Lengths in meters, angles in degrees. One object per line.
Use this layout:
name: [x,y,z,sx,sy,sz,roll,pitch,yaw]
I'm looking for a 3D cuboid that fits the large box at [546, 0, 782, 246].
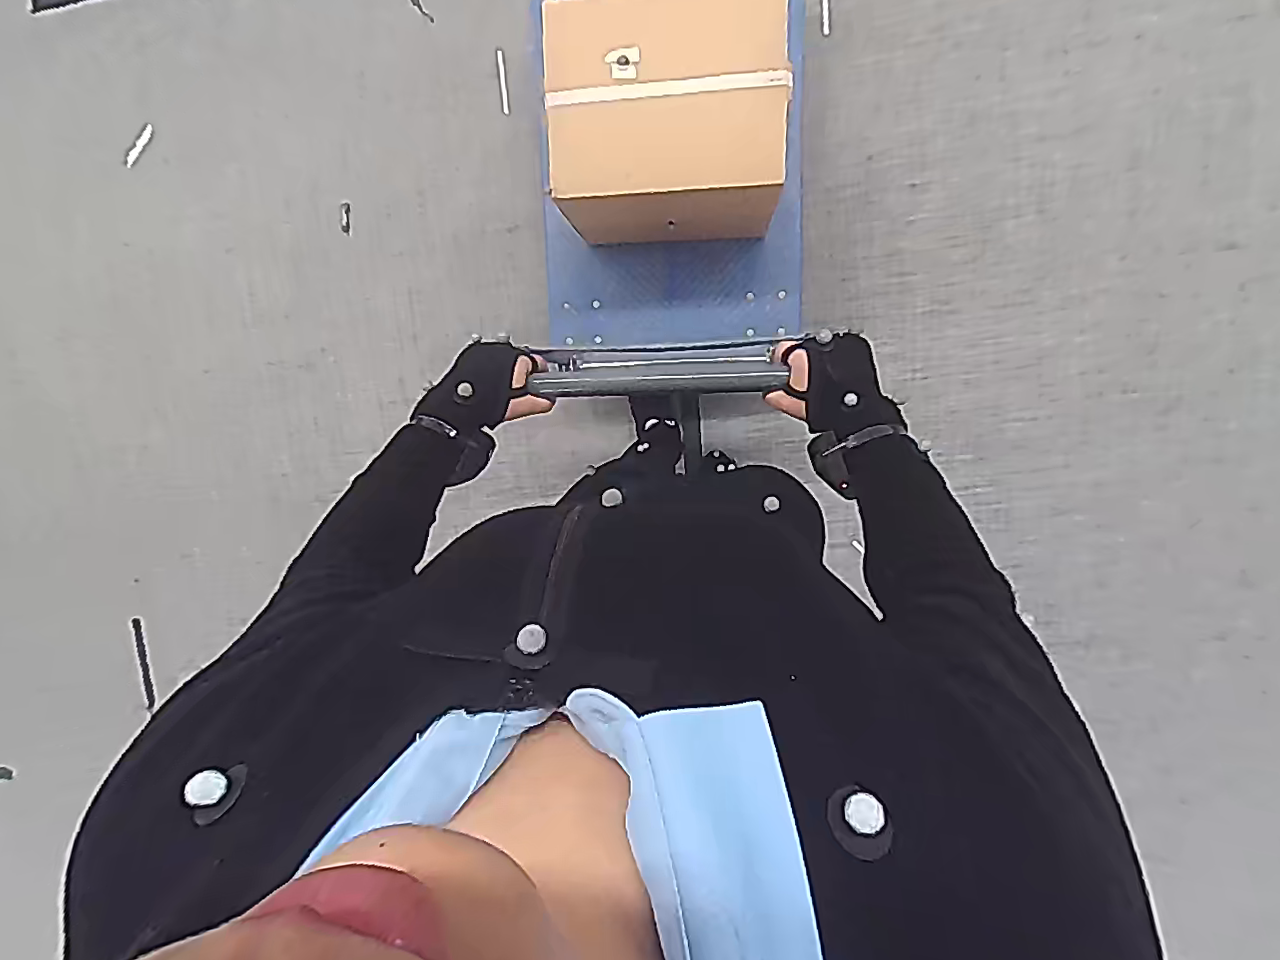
large box: [0.060,-0.673,1.070,0.408,0.320,0.320,0,98,8]
